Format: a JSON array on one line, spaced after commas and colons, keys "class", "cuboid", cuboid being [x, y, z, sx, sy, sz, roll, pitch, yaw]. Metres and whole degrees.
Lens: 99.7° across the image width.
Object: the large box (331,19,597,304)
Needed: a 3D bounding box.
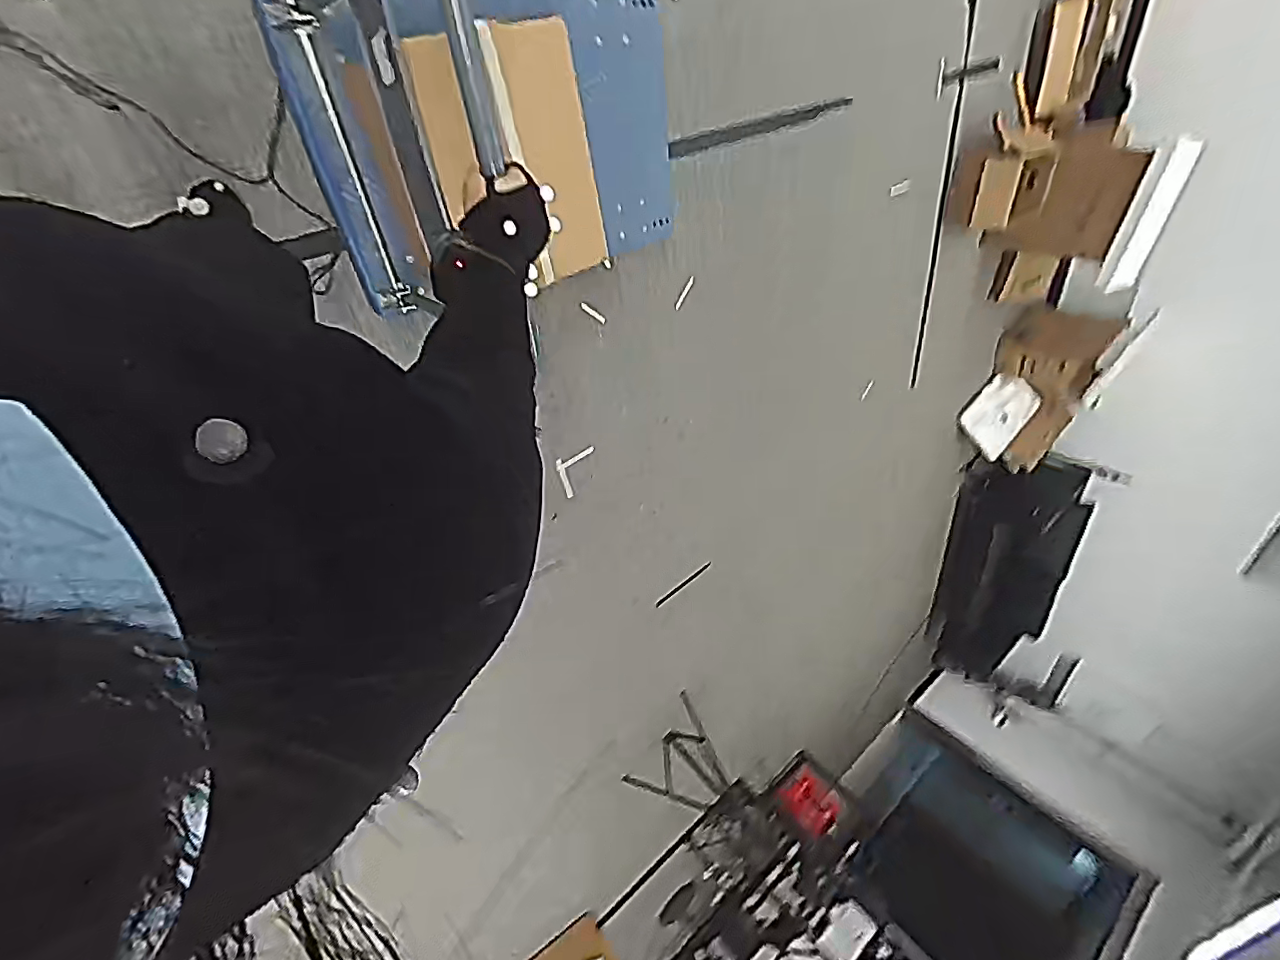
[{"class": "large box", "cuboid": [-0.334, -0.621, 1.078, 0.320, 0.320, 0.408, -32, 132, -25]}]
